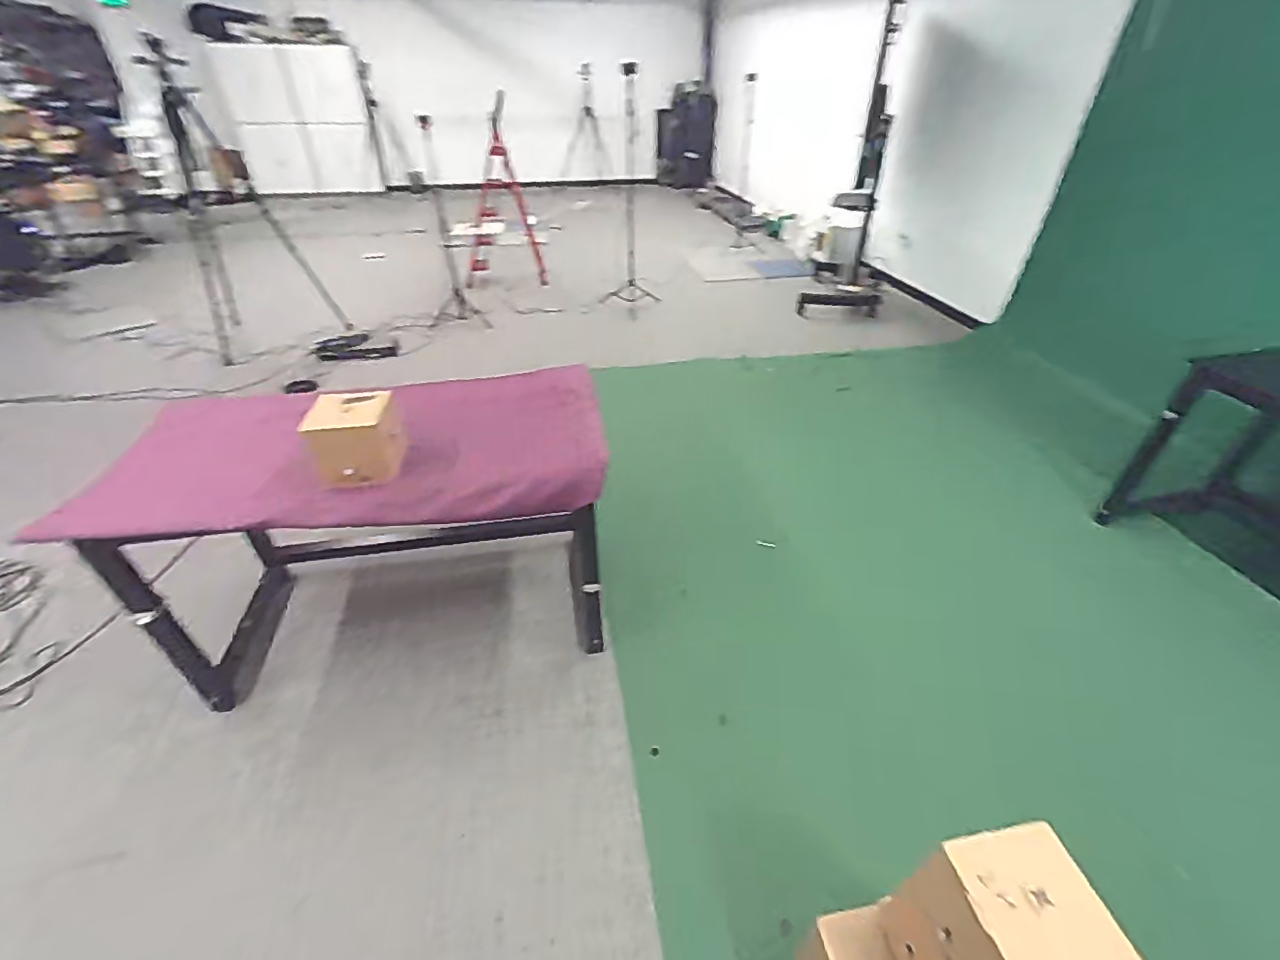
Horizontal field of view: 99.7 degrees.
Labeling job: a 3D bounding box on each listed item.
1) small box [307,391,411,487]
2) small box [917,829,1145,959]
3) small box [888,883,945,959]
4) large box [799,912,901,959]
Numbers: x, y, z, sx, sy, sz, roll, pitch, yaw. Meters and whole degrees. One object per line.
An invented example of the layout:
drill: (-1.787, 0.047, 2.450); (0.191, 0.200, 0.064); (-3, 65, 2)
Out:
small box: (-0.675, -0.103, 1.326); (0.168, 0.176, 0.179); (-5, 37, -7)
small box: (0.532, 0.627, 0.763); (0.179, 0.176, 0.168); (-5, 37, -7)
small box: (0.534, 0.757, 0.863); (0.179, 0.176, 0.168); (-4, 37, -7)
large box: (0.499, 1.019, 0.917); (0.320, 0.320, 0.408); (-5, 38, -6)
